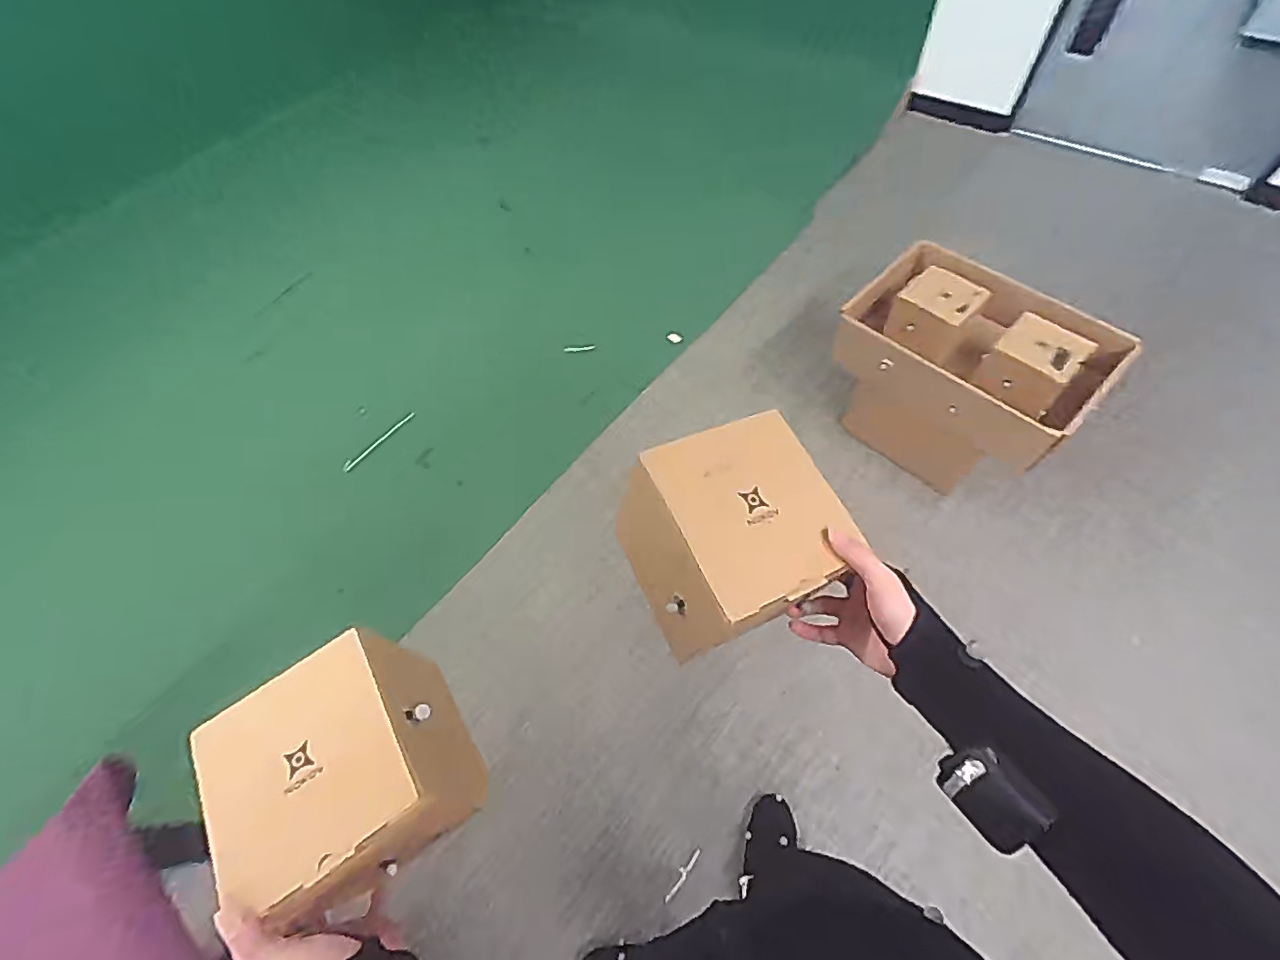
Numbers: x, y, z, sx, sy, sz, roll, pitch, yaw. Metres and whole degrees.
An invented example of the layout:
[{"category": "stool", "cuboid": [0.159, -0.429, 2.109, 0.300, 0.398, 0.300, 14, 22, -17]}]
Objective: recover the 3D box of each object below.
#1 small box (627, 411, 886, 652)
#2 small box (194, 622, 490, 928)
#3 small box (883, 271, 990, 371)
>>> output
[{"category": "small box", "cuboid": [0.101, 0.062, 0.555, 0.168, 0.176, 0.179, -17, 65, -21]}, {"category": "small box", "cuboid": [-0.274, 0.273, 0.522, 0.168, 0.176, 0.179, -32, 62, -11]}, {"category": "small box", "cuboid": [0.806, -0.434, 1.491, 0.168, 0.176, 0.179, -40, 63, -17]}]
